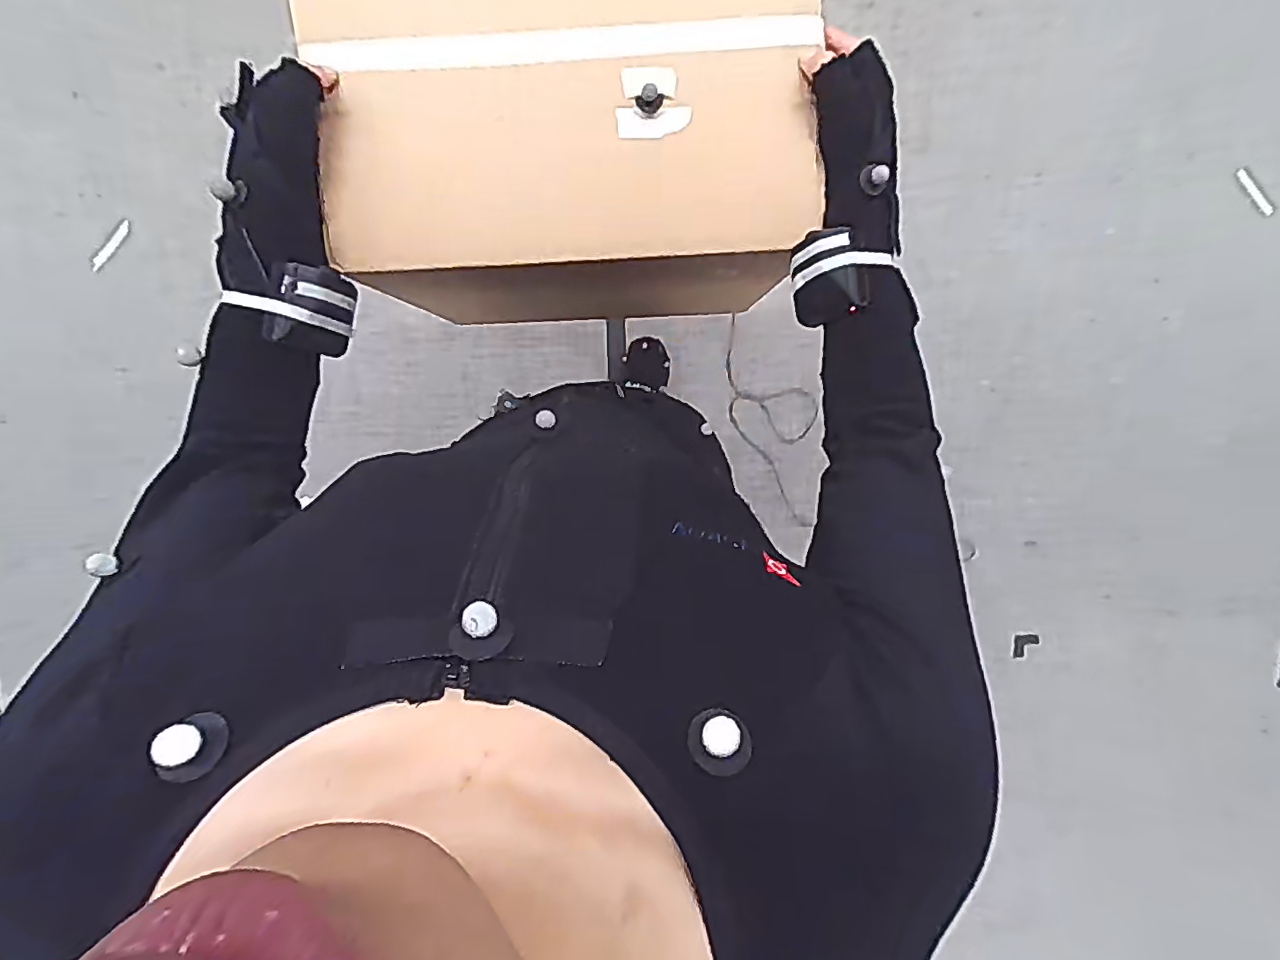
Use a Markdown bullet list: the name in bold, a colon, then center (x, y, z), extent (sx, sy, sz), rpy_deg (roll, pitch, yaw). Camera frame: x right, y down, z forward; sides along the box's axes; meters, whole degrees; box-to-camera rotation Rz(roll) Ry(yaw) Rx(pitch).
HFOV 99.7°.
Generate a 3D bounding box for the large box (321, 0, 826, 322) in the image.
- **large box**: center (-0.055, -0.364, 0.580), extent (0.408, 0.320, 0.320), rpy_deg (-3, 98, 0)
